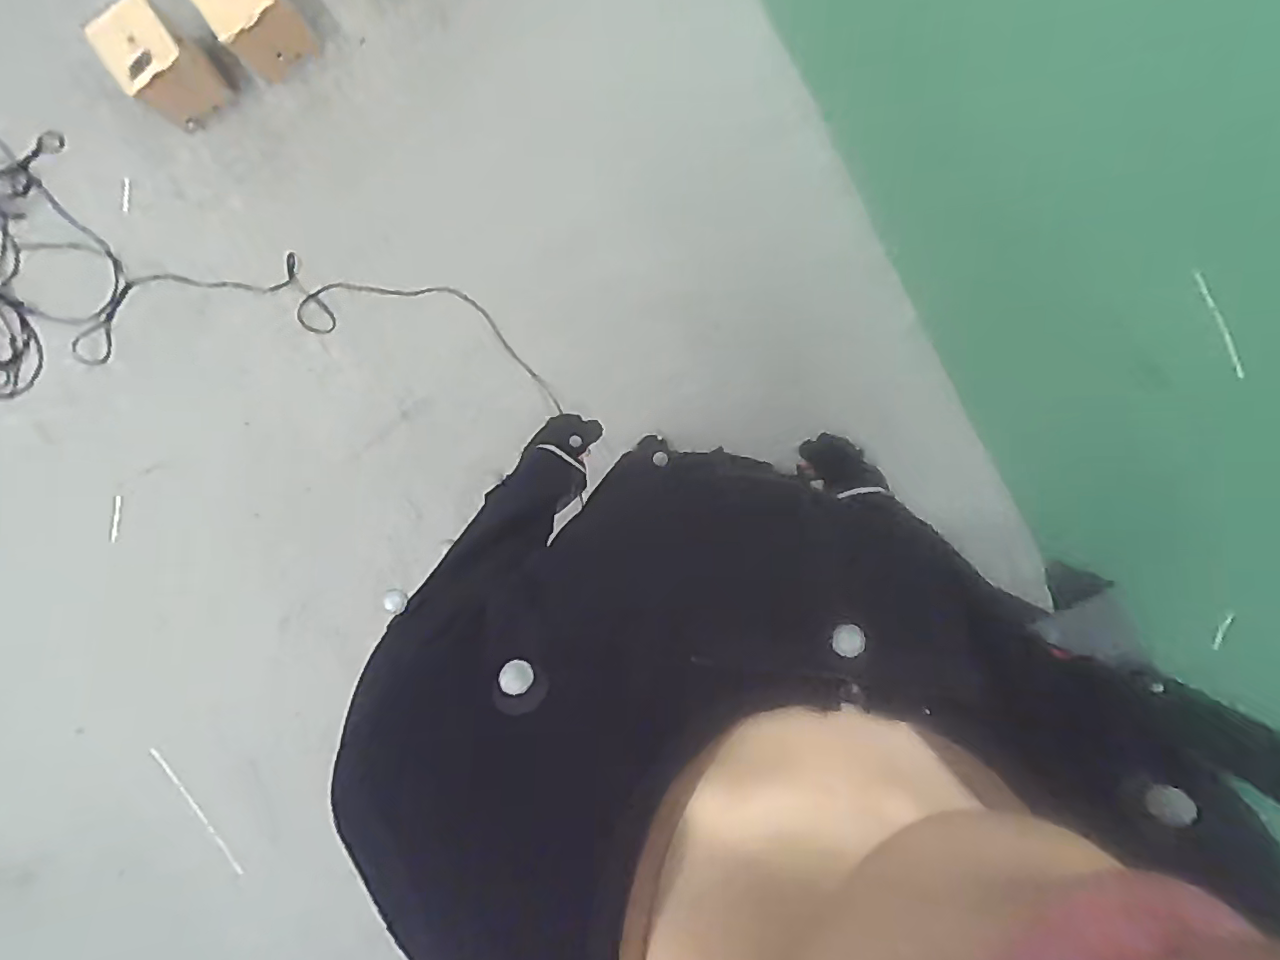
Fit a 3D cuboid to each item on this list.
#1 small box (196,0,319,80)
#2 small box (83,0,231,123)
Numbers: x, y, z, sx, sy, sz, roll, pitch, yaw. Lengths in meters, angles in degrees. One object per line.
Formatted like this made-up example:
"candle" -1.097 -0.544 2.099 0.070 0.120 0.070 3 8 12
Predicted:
"small box" -0.925 -1.122 1.293 0.168 0.176 0.179 -35 96 5
"small box" -1.154 -1.011 1.310 0.168 0.176 0.179 -32 94 5
